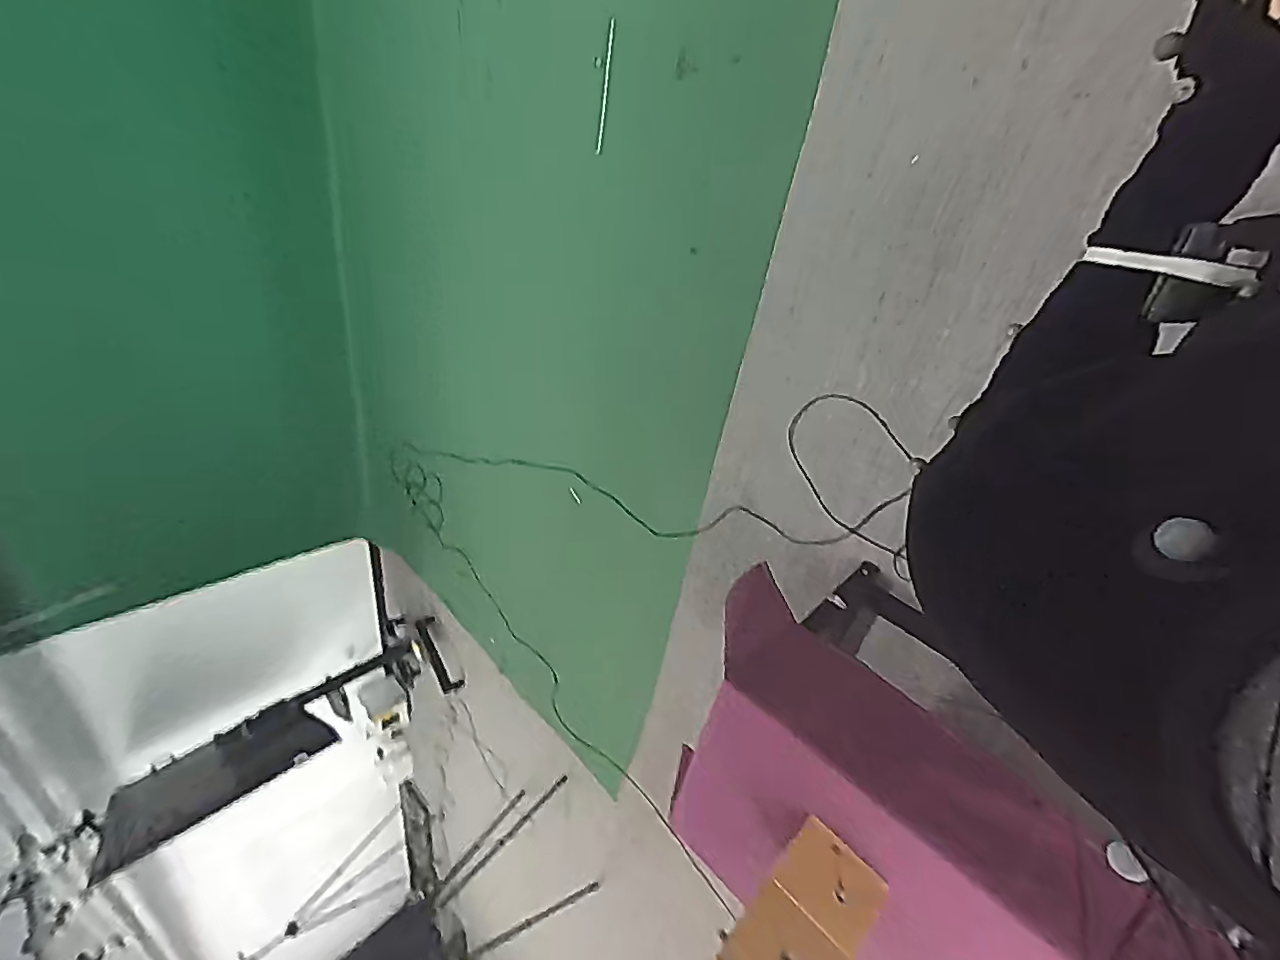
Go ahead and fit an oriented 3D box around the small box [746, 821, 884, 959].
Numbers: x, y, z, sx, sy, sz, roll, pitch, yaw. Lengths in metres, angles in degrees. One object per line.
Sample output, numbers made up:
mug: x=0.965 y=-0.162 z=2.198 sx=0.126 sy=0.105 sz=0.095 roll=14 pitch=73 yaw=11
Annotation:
small box: x=0.333 y=0.795 z=1.019 sx=0.168 sy=0.176 sz=0.179 roll=35 pitch=129 yaw=30
